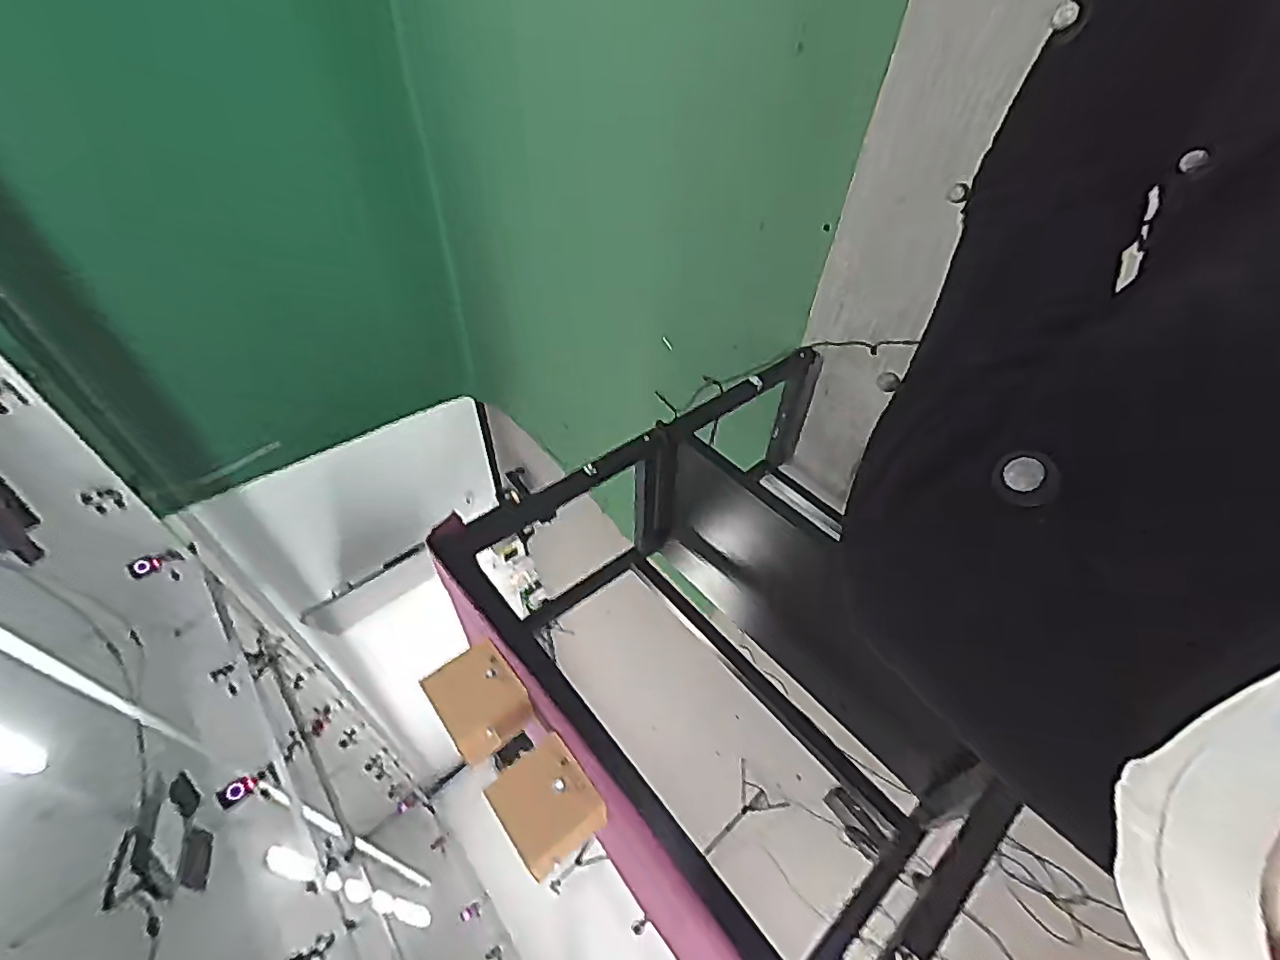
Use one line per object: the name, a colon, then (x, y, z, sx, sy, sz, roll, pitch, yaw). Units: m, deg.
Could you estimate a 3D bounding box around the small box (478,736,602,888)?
small box: (-0.185, 0.635, 1.042, 0.168, 0.176, 0.179, 41, 147, 30)
